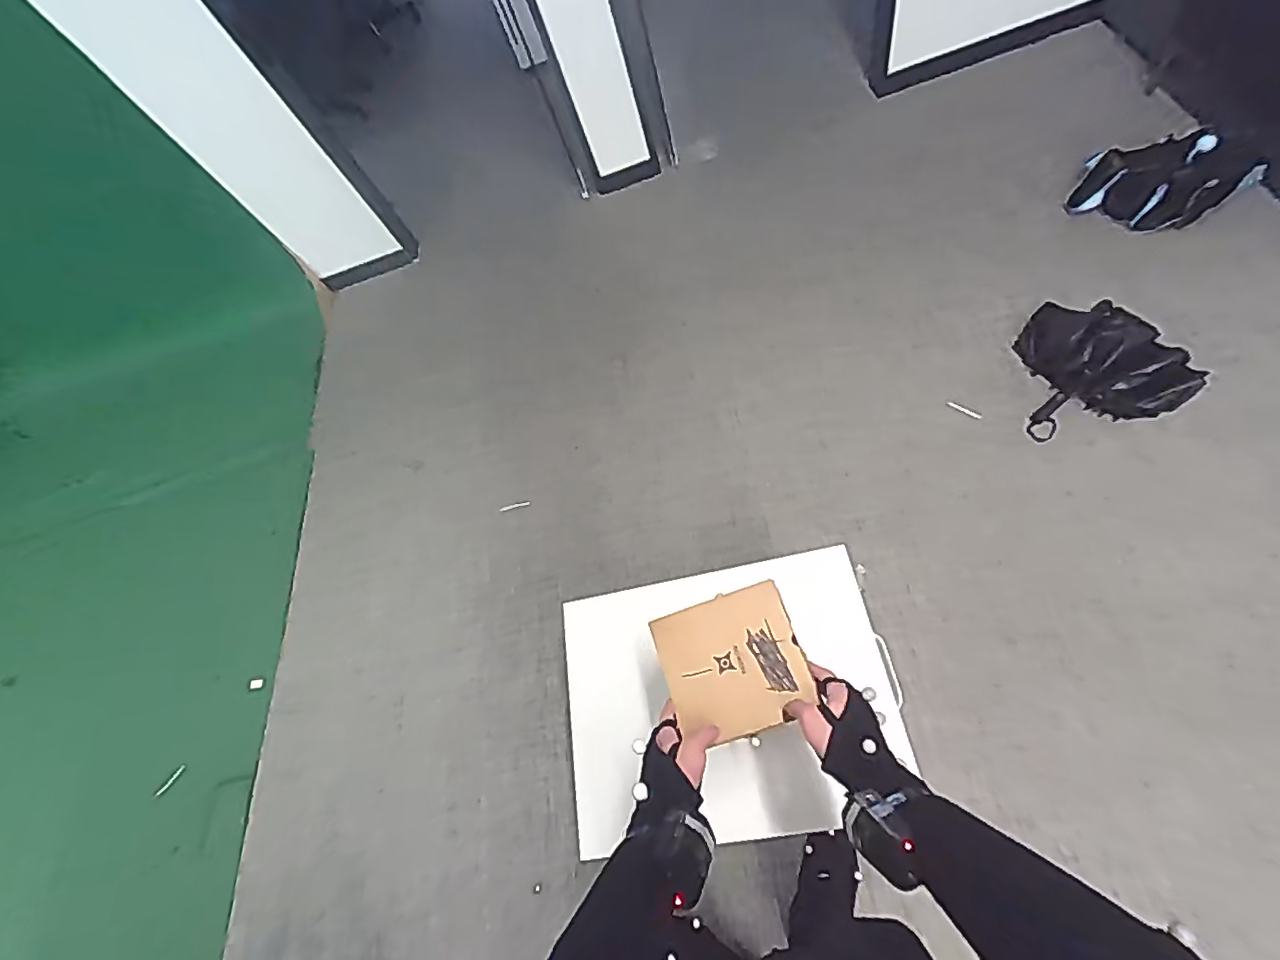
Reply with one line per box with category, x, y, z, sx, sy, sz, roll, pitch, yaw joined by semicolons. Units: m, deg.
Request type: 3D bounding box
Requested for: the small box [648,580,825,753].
small box;0.126;0.254;0.728;0.179;0.176;0.168;-19;62;4
